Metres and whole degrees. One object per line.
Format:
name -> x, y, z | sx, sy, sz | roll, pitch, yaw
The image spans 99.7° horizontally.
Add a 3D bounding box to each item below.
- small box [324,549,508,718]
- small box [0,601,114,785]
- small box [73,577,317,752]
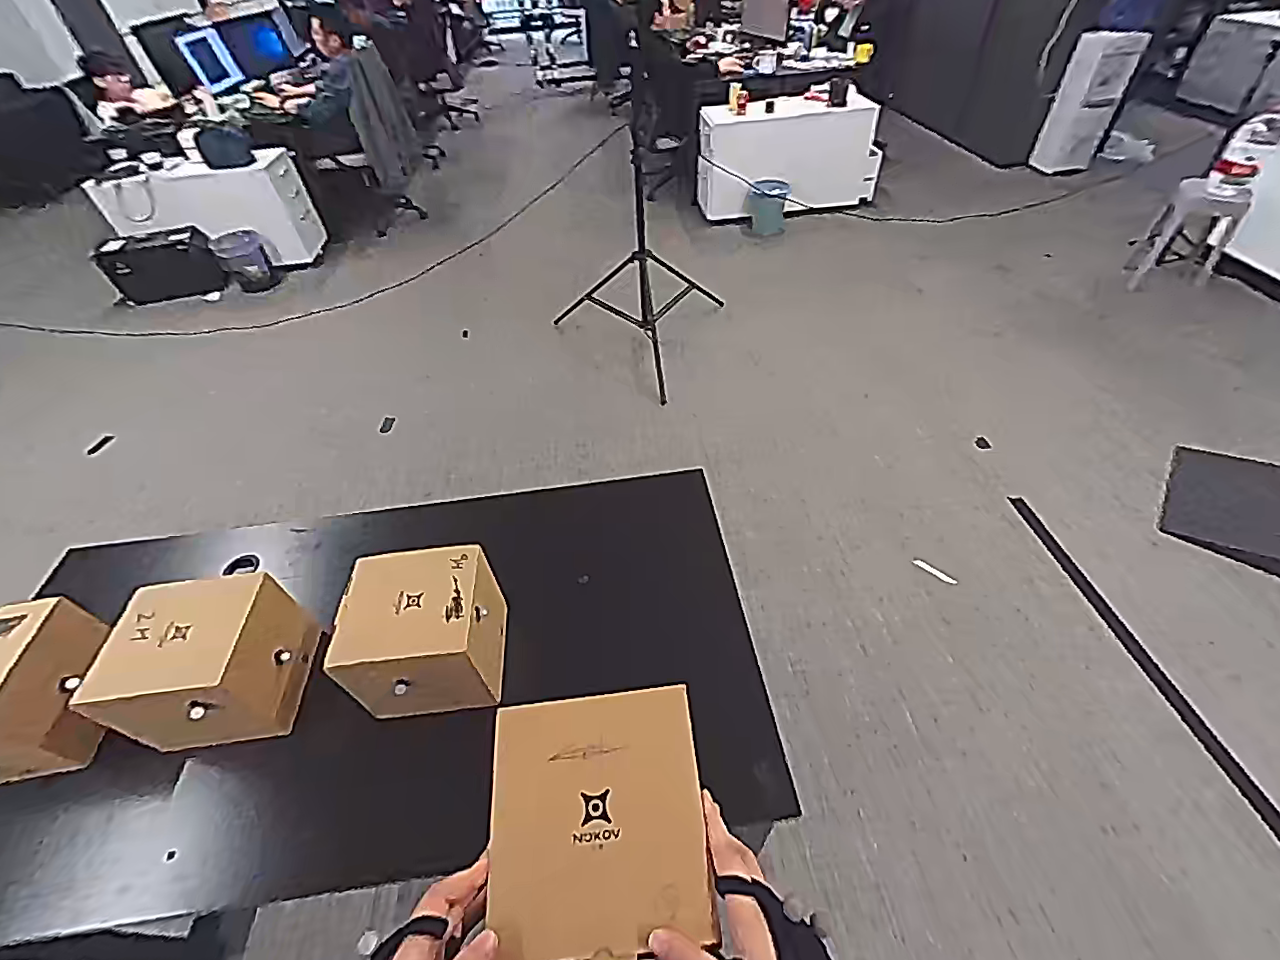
small box -> -0.301, 0.221, 0.770 | 0.179, 0.176, 0.168 | -7, 46, -1
small box -> -0.856, 0.295, 0.742 | 0.168, 0.176, 0.179 | -9, 47, -4
small box -> -0.592, 0.259, 0.755 | 0.179, 0.176, 0.168 | -8, 46, -3
